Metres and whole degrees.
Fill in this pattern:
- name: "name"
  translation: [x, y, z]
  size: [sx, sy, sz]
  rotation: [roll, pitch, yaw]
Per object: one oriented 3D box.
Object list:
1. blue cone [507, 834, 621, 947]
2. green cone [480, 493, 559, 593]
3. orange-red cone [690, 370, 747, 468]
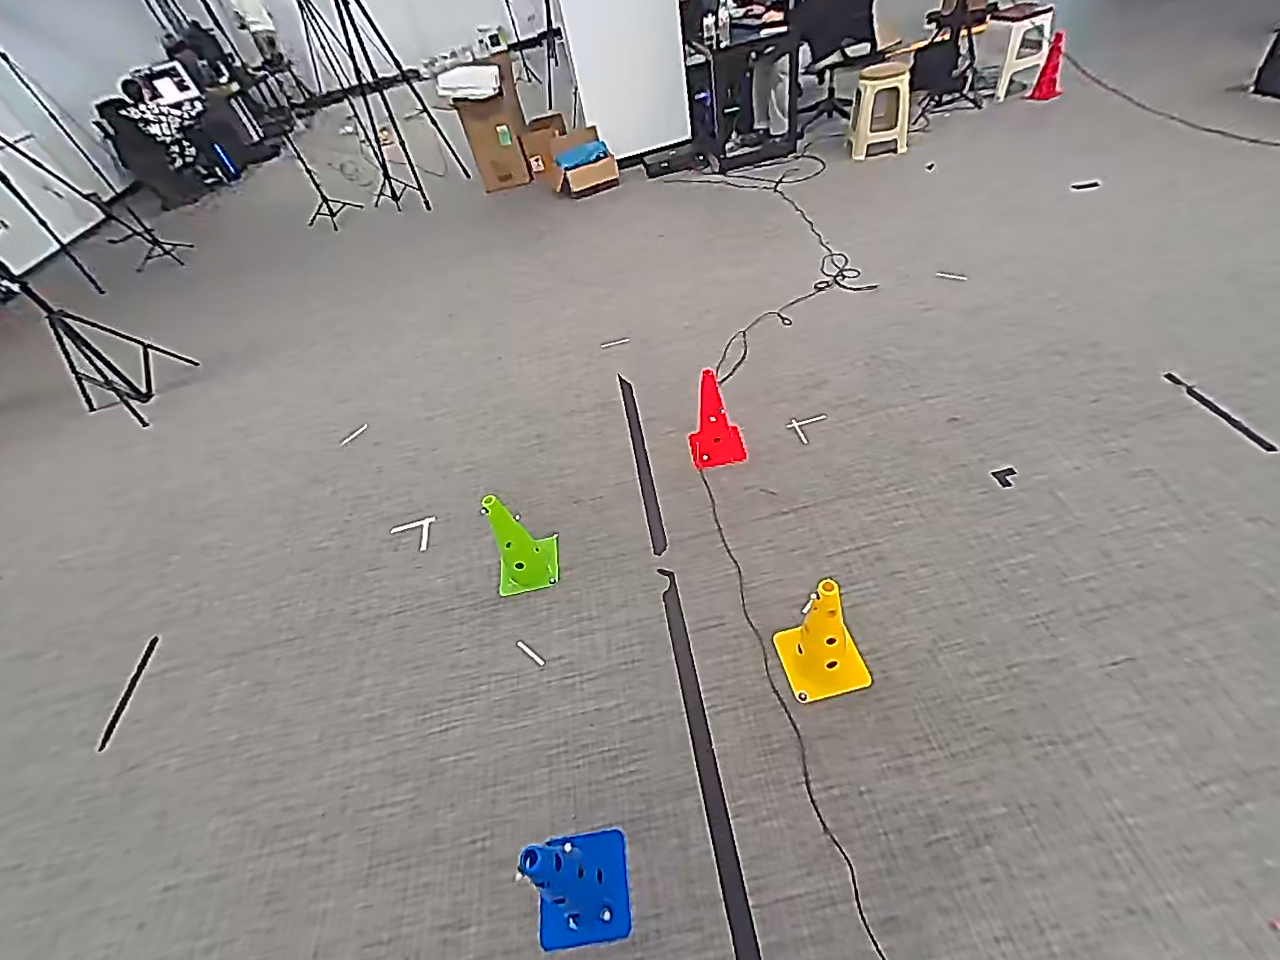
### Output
- name: "blue cone"
  translation: [-0.170, 0.791, 1.080]
  size: [0.192, 0.380, 0.193]
  rotation: [-11, 45, 5]
- name: "green cone"
  translation: [-0.410, 0.167, 1.712]
  size: [0.202, 0.368, 0.200]
  rotation: [-14, 46, 3]
- name: "orange-red cone"
  translation: [0.263, -0.240, 1.922]
  size: [0.199, 0.360, 0.198]
  rotation: [-9, 47, 5]
